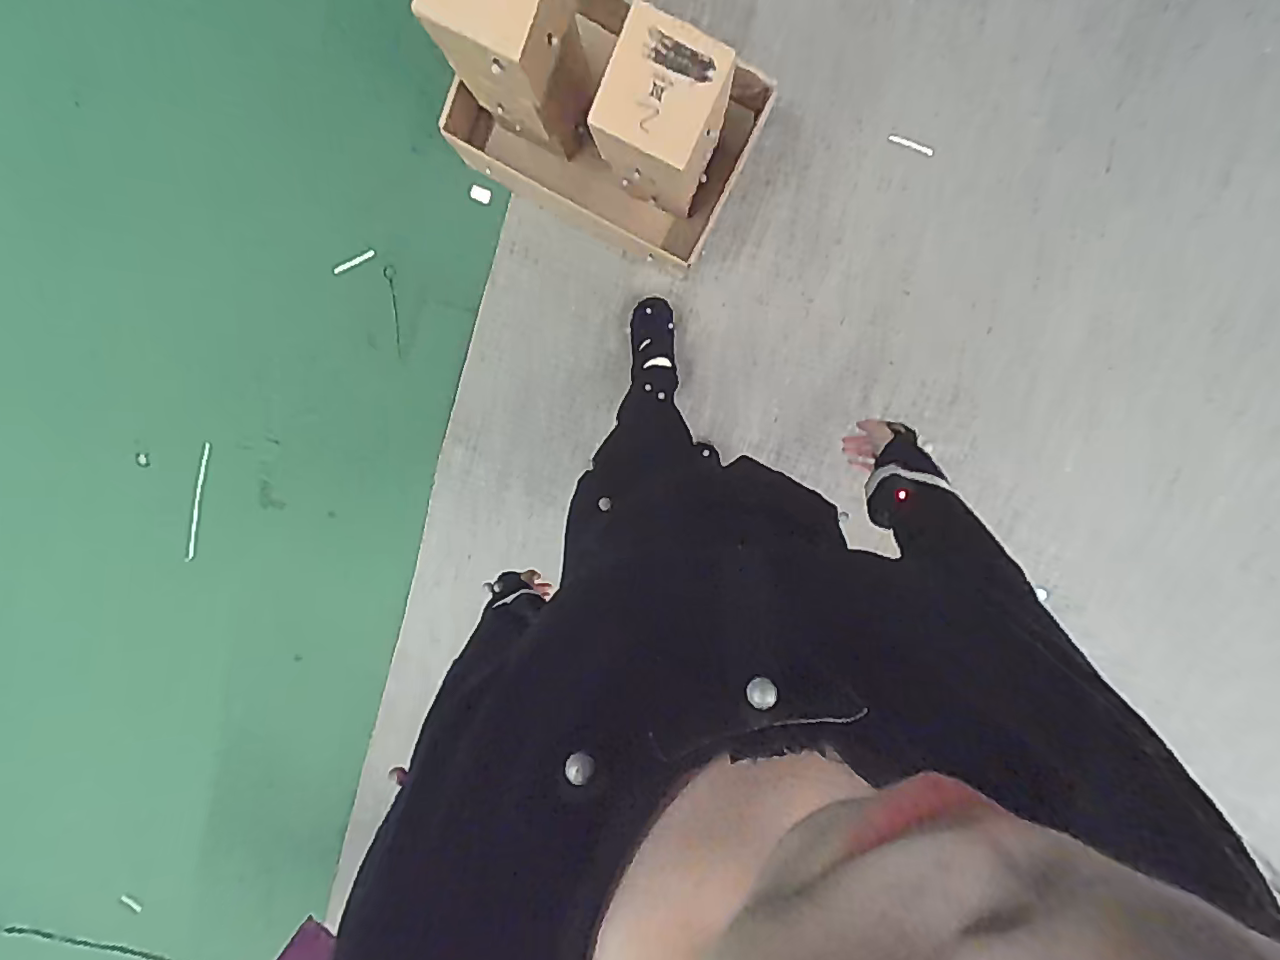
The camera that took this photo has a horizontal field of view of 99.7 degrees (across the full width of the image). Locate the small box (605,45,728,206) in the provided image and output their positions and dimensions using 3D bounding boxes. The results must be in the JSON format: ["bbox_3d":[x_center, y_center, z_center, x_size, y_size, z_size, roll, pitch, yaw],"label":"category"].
[{"bbox_3d":[0.052,-0.656,1.028,0.168,0.176,0.179,25,103,-2],"label":"small box"}]

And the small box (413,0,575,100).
[{"bbox_3d":[-0.218,-0.745,0.855,0.179,0.176,0.168,25,104,-4],"label":"small box"}]

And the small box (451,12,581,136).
[{"bbox_3d":[-0.221,-0.795,1.013,0.168,0.176,0.179,26,105,-4],"label":"small box"}]
